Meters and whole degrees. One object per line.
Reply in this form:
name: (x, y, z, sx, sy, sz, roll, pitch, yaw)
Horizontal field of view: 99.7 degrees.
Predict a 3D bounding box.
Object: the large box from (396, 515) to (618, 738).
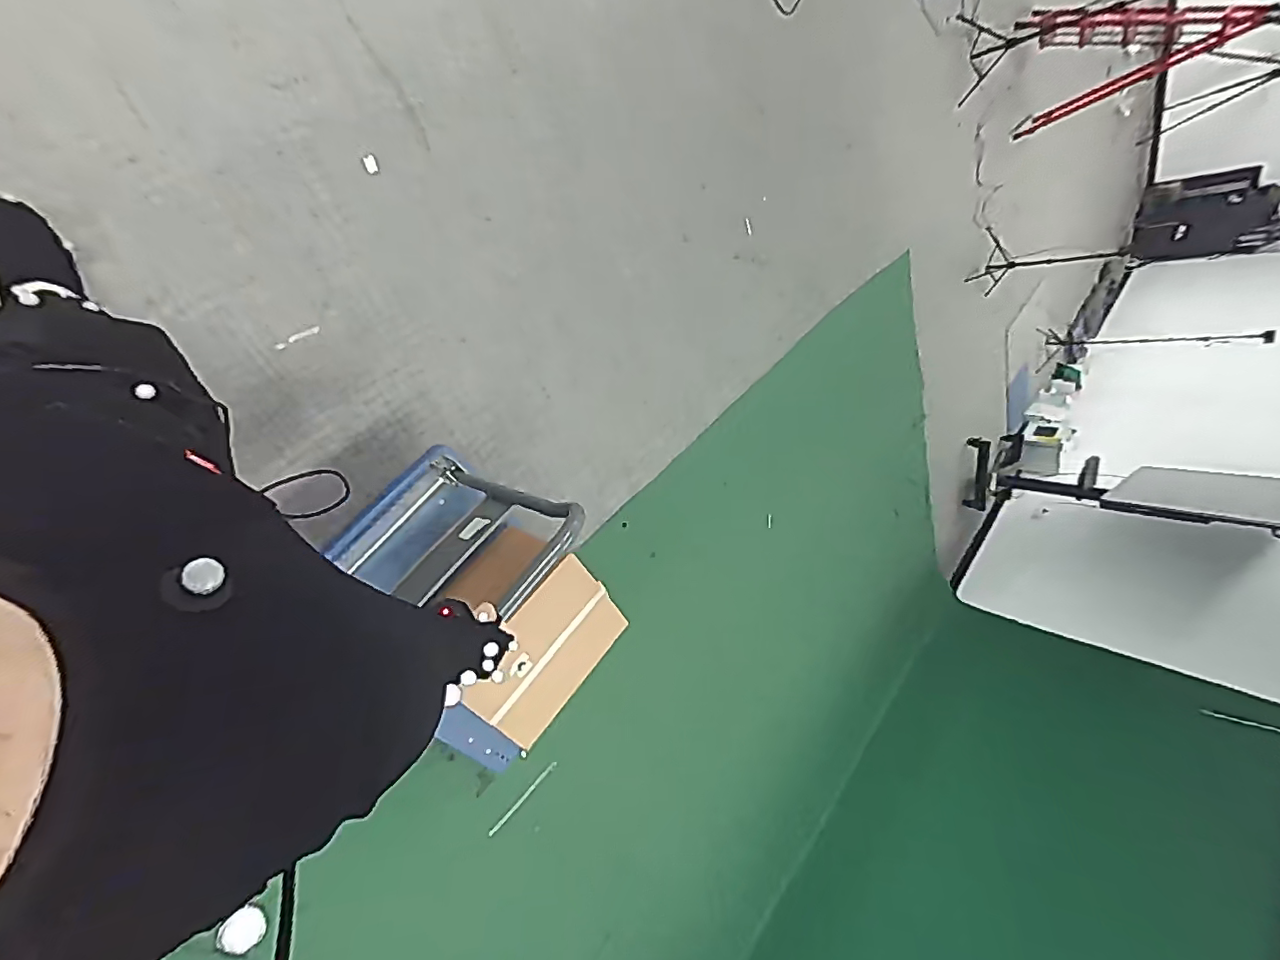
large box: (-0.339, 0.362, 1.418, 0.408, 0.320, 0.320, -48, 127, -23)
